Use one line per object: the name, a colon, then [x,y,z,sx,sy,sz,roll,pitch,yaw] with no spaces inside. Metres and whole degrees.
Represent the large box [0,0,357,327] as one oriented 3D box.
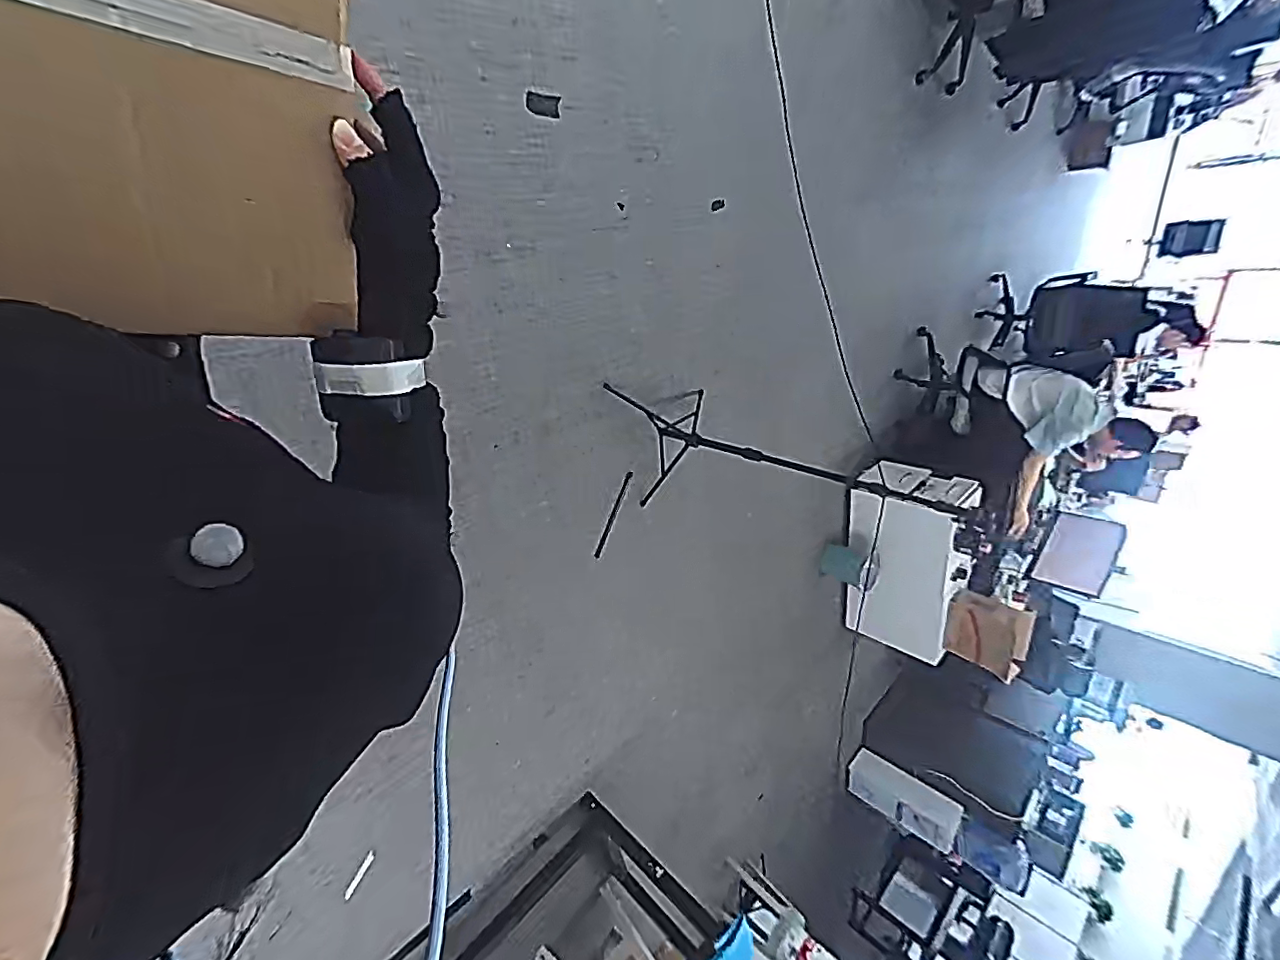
large box: [-0.419,-0.286,0.296,0.408,0.320,0.320,-10,128,-38]
